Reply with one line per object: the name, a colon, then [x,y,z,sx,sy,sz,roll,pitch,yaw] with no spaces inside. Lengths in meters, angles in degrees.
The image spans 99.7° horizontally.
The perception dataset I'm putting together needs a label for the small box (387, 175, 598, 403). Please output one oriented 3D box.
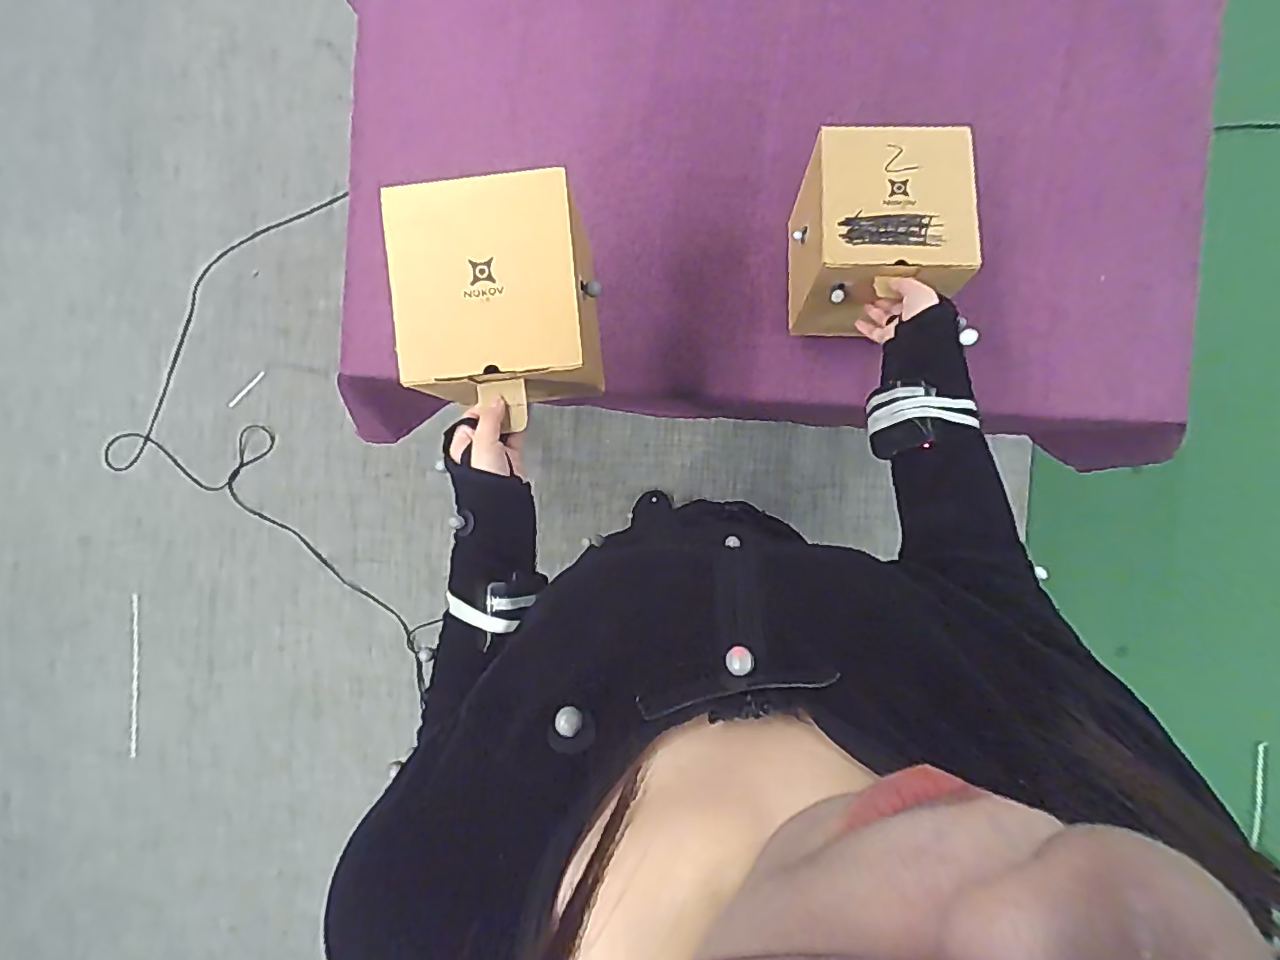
small box: [-0.140,-0.183,0.568,0.168,0.176,0.179,-5,92,2]
